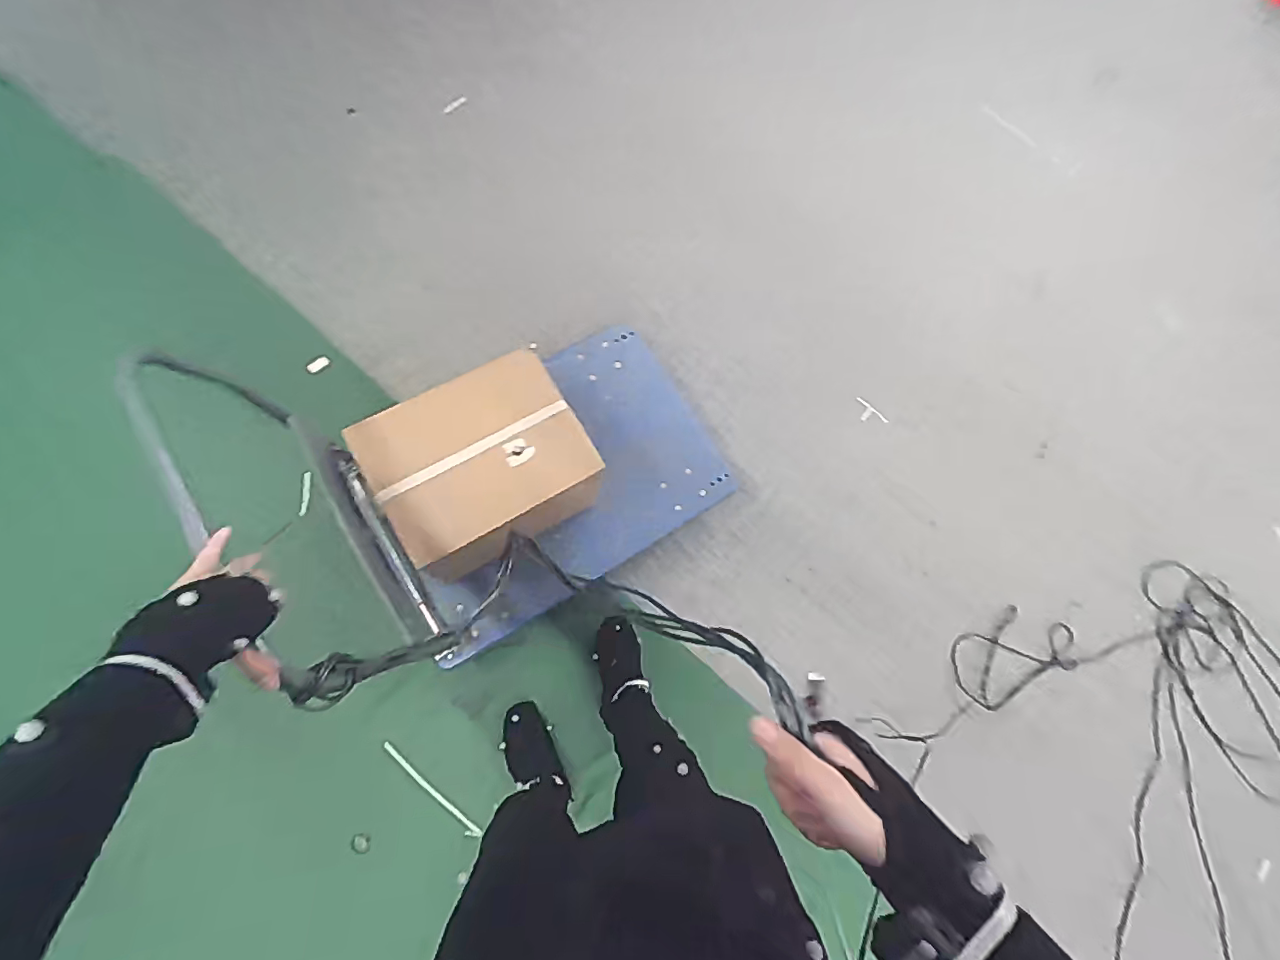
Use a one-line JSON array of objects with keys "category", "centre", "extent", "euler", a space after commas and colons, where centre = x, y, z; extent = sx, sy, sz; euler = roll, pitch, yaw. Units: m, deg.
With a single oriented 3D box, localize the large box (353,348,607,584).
[{"category": "large box", "centre": [-0.332, -0.017, 1.202], "extent": [0.408, 0.320, 0.320], "euler": [-30, 81, -17]}]
